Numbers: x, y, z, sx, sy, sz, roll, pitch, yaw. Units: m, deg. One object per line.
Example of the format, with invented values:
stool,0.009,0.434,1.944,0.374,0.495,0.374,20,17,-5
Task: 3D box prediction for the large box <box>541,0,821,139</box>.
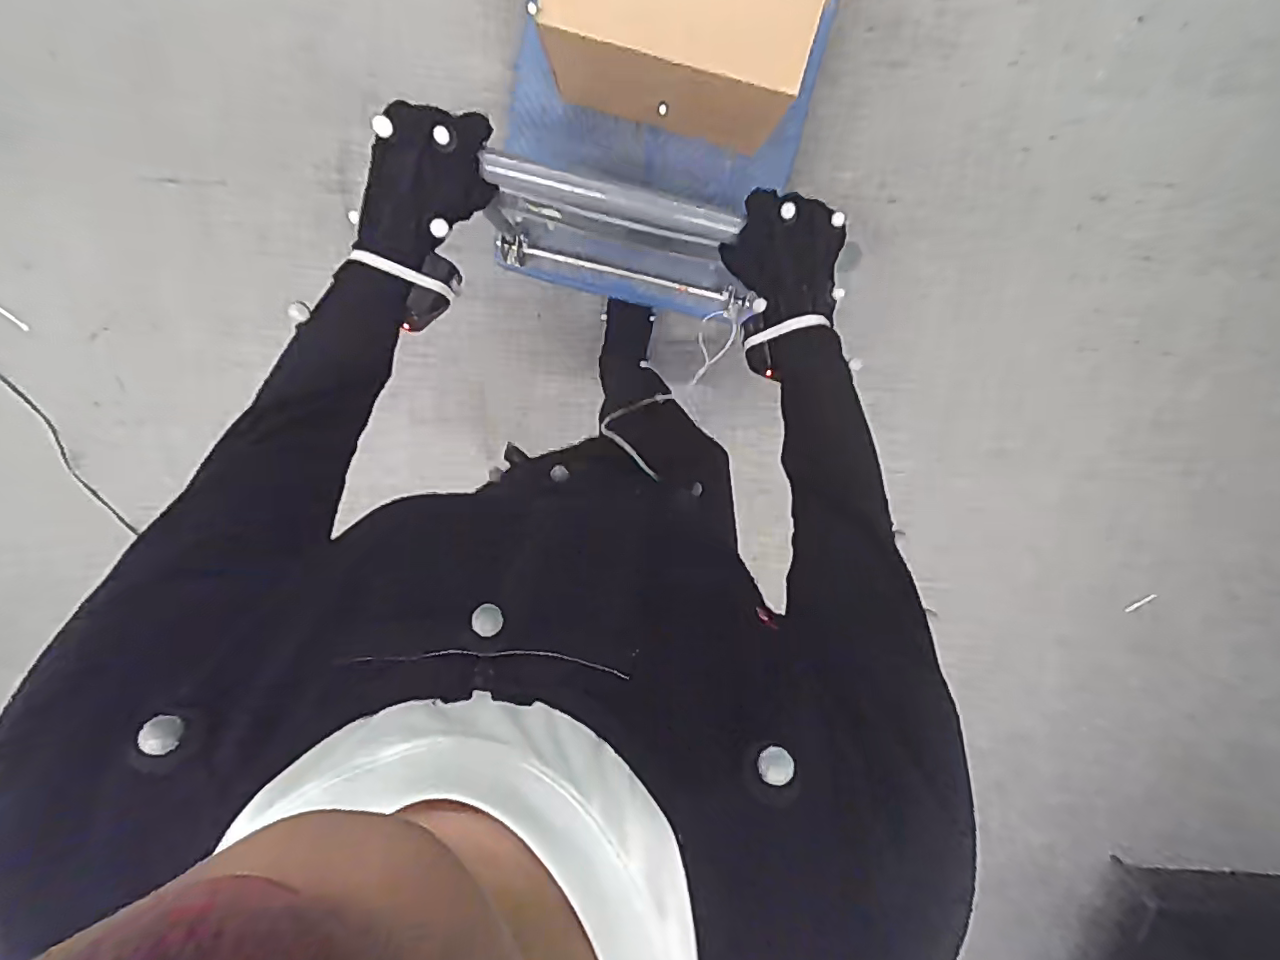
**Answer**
large box,0.083,-0.824,0.902,0.408,0.320,0.320,13,106,-4
